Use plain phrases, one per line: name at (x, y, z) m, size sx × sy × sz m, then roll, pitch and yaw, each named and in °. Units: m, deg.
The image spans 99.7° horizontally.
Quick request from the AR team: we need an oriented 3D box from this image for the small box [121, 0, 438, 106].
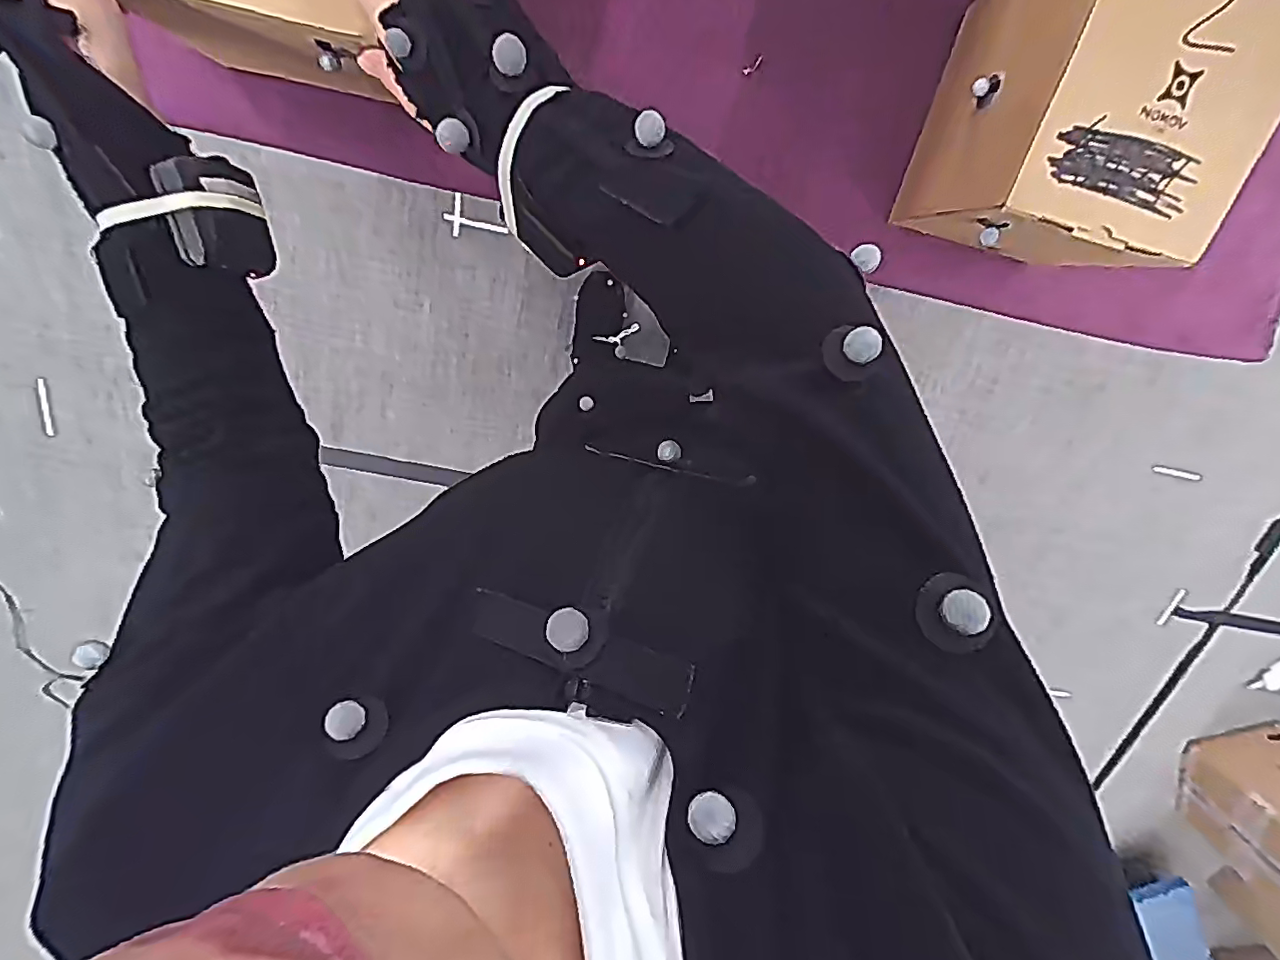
small box at (-0.241, -0.375, 0.356) m, size 0.179 × 0.176 × 0.168 m, roll 6°, pitch 111°, yaw -11°
